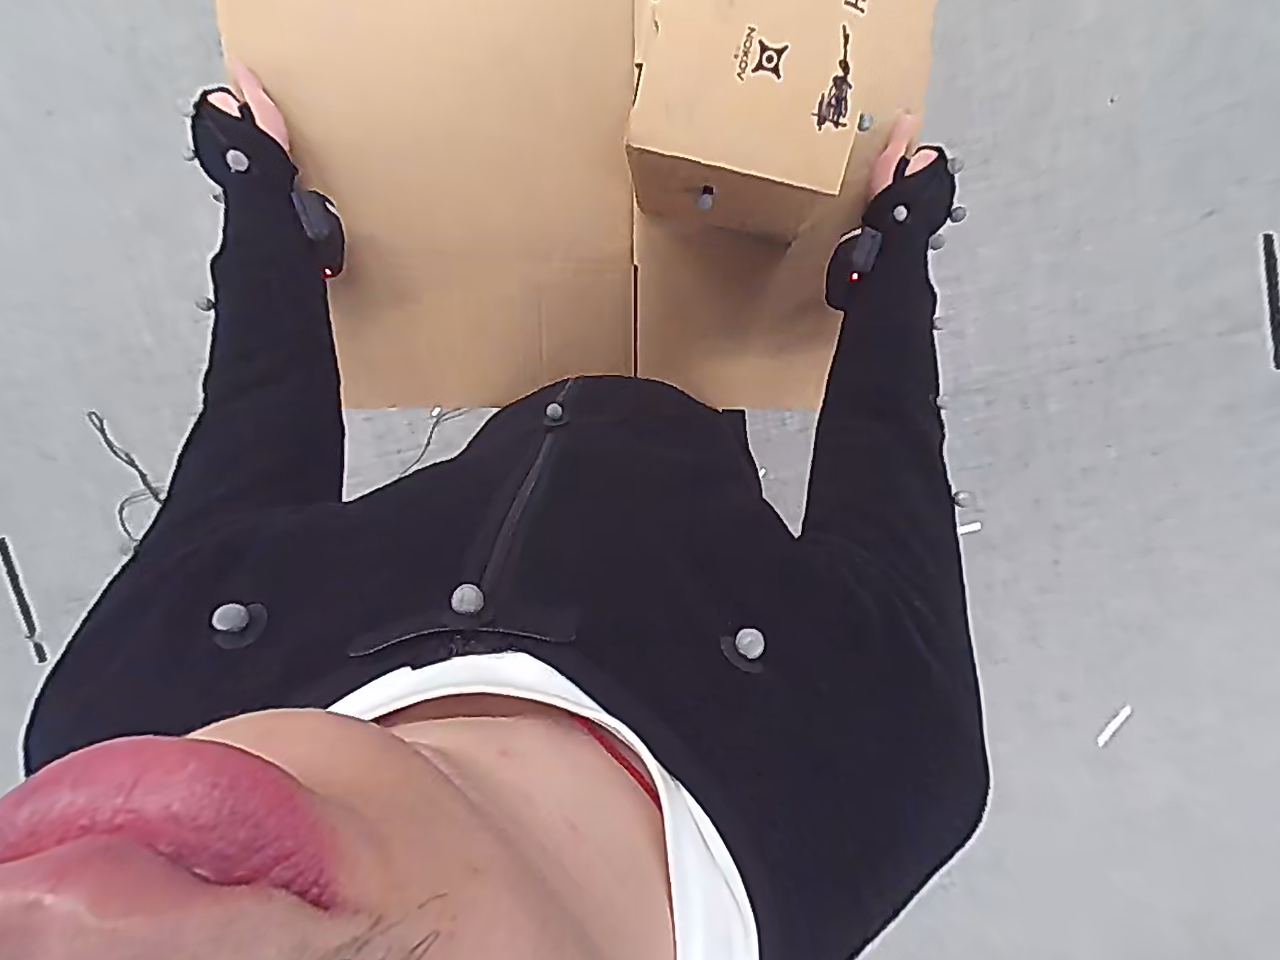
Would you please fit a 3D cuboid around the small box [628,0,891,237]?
[{"bbox_3d":[0.098,-0.341,0.499,0.179,0.176,0.168,14,102,2],"label":"small box"}]
